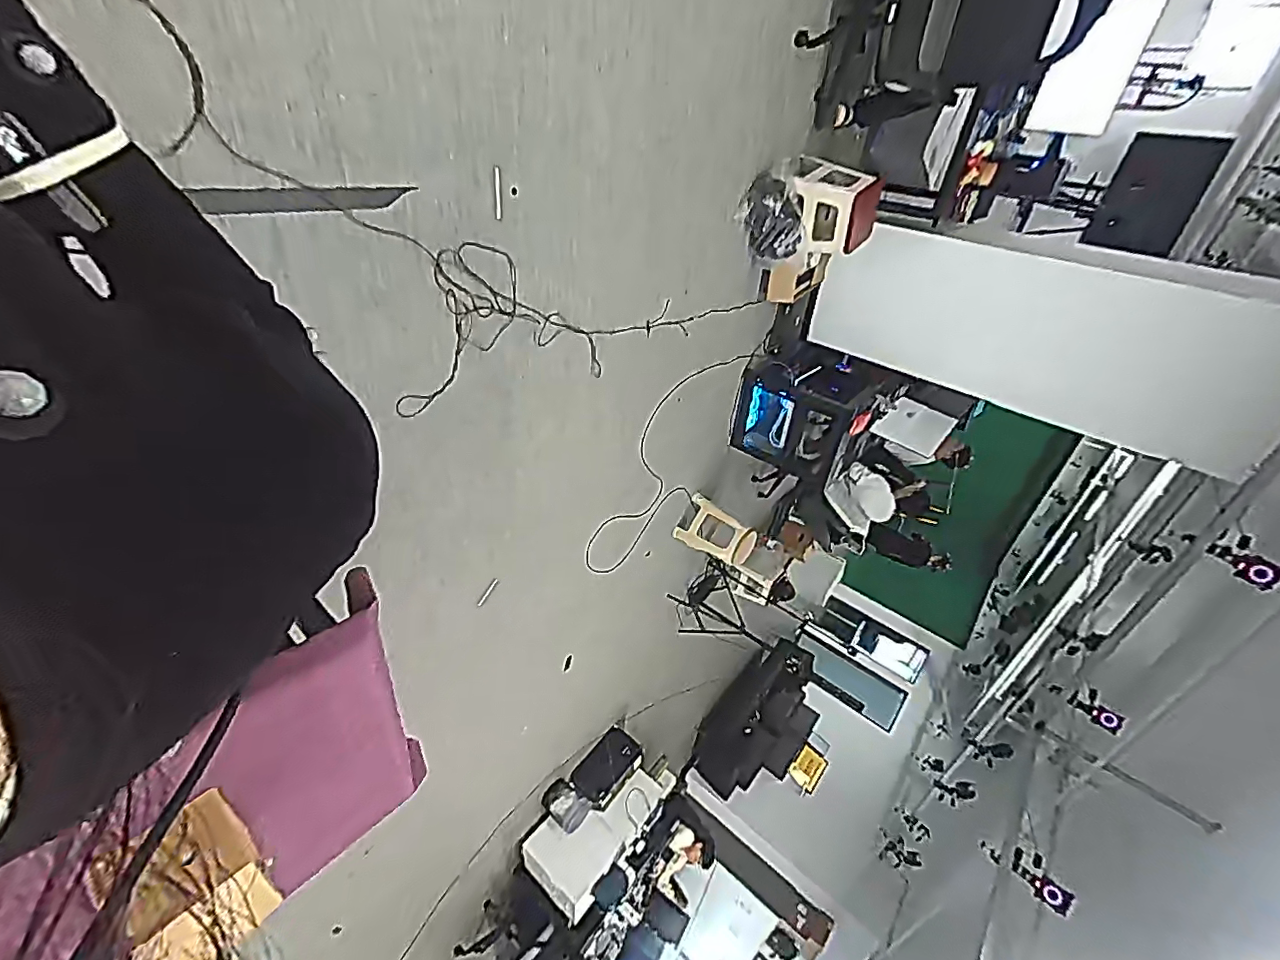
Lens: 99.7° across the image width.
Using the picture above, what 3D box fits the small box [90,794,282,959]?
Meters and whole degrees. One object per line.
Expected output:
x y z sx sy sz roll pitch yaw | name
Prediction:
-0.720 0.647 0.864 0.168 0.176 0.179 -32 141 -41 | small box
